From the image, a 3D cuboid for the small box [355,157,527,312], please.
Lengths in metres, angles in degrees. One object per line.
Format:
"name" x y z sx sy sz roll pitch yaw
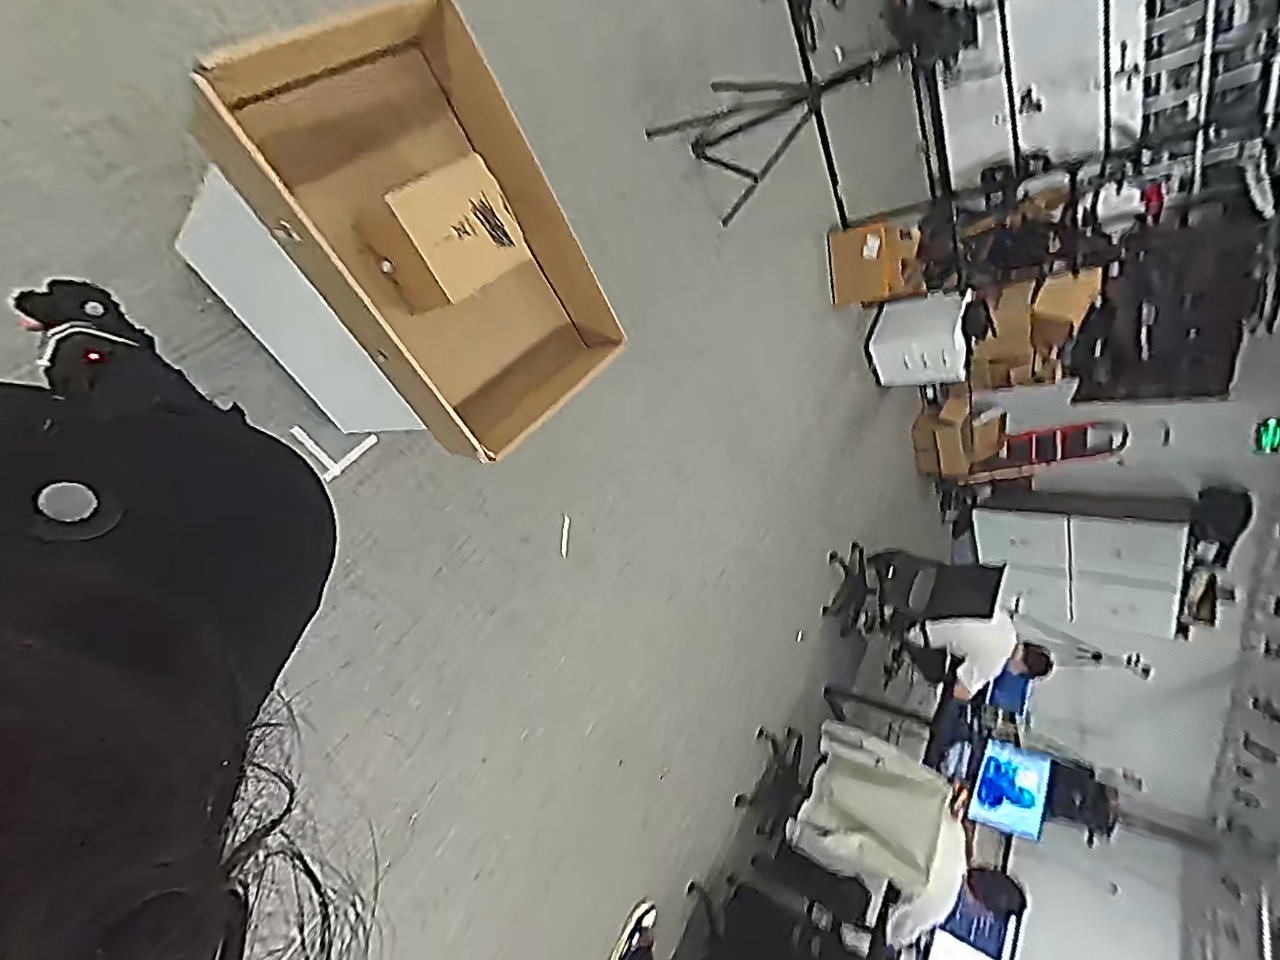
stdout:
"small box" -0.327 -0.395 0.889 0.179 0.176 0.168 -46 124 -28
